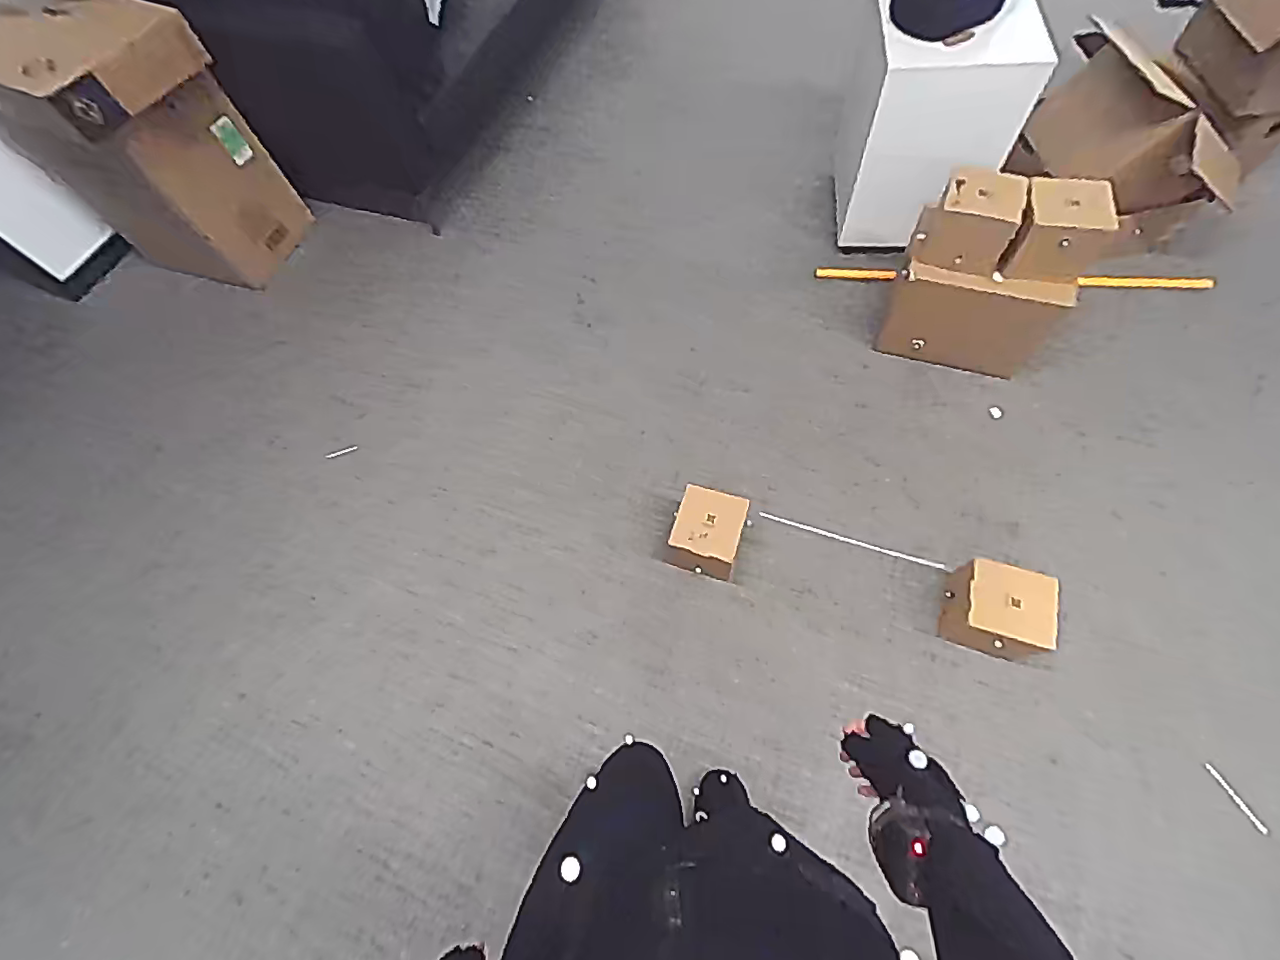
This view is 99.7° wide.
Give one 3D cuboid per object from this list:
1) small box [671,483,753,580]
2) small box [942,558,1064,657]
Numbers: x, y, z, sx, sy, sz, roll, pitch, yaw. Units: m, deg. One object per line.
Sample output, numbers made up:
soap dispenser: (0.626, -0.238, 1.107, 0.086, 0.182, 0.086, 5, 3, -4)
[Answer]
small box: (0.184, 0.137, 1.400, 0.168, 0.176, 0.179, 15, 67, 13)
small box: (0.833, 0.300, 1.250, 0.179, 0.176, 0.168, 15, 67, 14)
